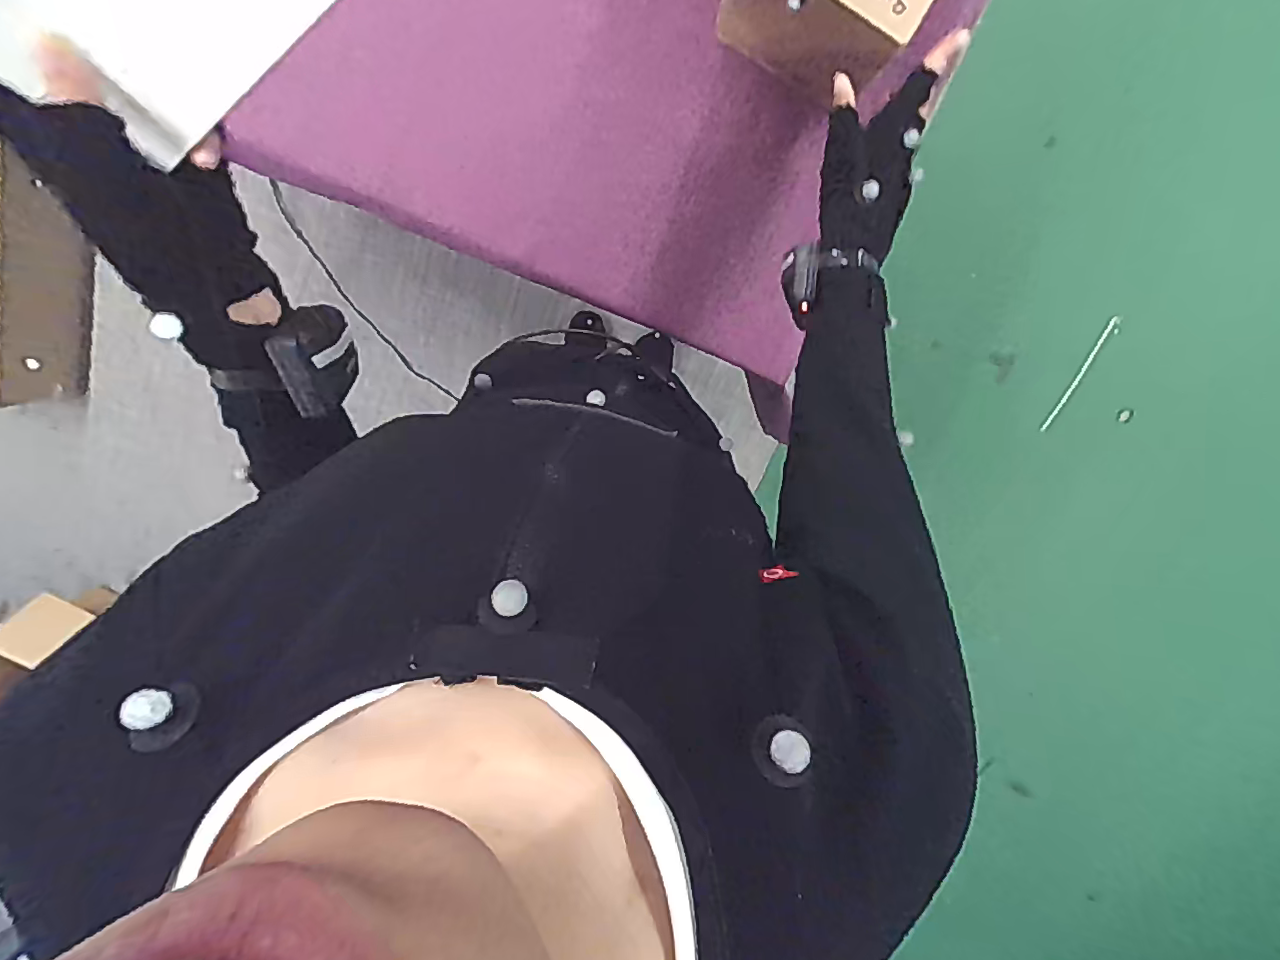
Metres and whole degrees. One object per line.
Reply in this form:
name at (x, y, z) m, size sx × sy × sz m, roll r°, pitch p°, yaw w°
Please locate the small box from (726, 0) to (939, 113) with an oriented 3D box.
small box at (0.195, -0.490, 0.495) m, size 0.168 × 0.176 × 0.179 m, roll 28°, pitch 105°, yaw -8°
